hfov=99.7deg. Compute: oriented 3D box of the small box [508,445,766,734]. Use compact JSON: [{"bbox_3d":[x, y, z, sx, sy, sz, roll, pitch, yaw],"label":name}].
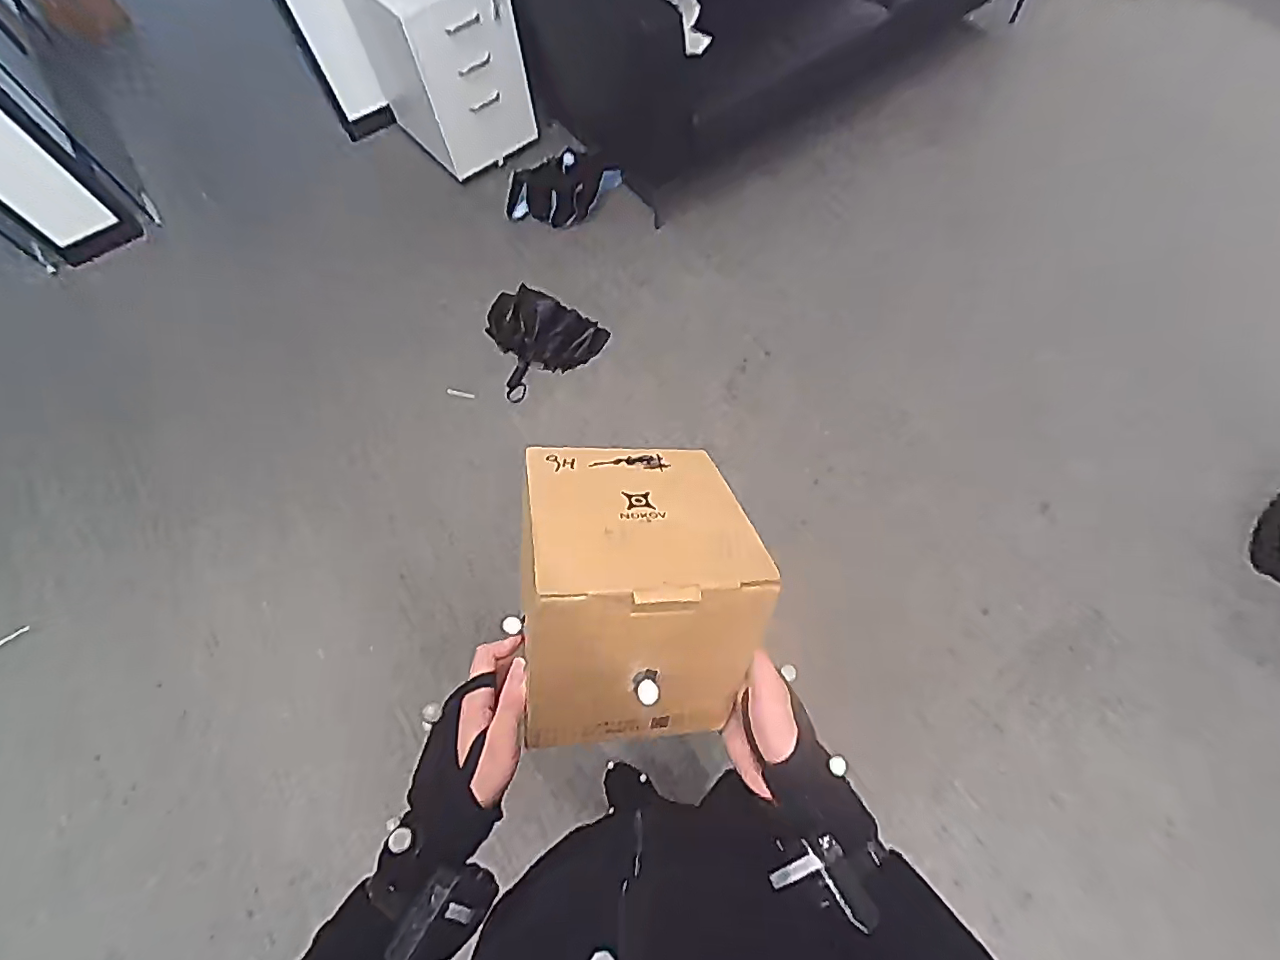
[{"bbox_3d":[-0.021,0.089,0.448,0.168,0.176,0.179,2,35,-15],"label":"small box"}]
